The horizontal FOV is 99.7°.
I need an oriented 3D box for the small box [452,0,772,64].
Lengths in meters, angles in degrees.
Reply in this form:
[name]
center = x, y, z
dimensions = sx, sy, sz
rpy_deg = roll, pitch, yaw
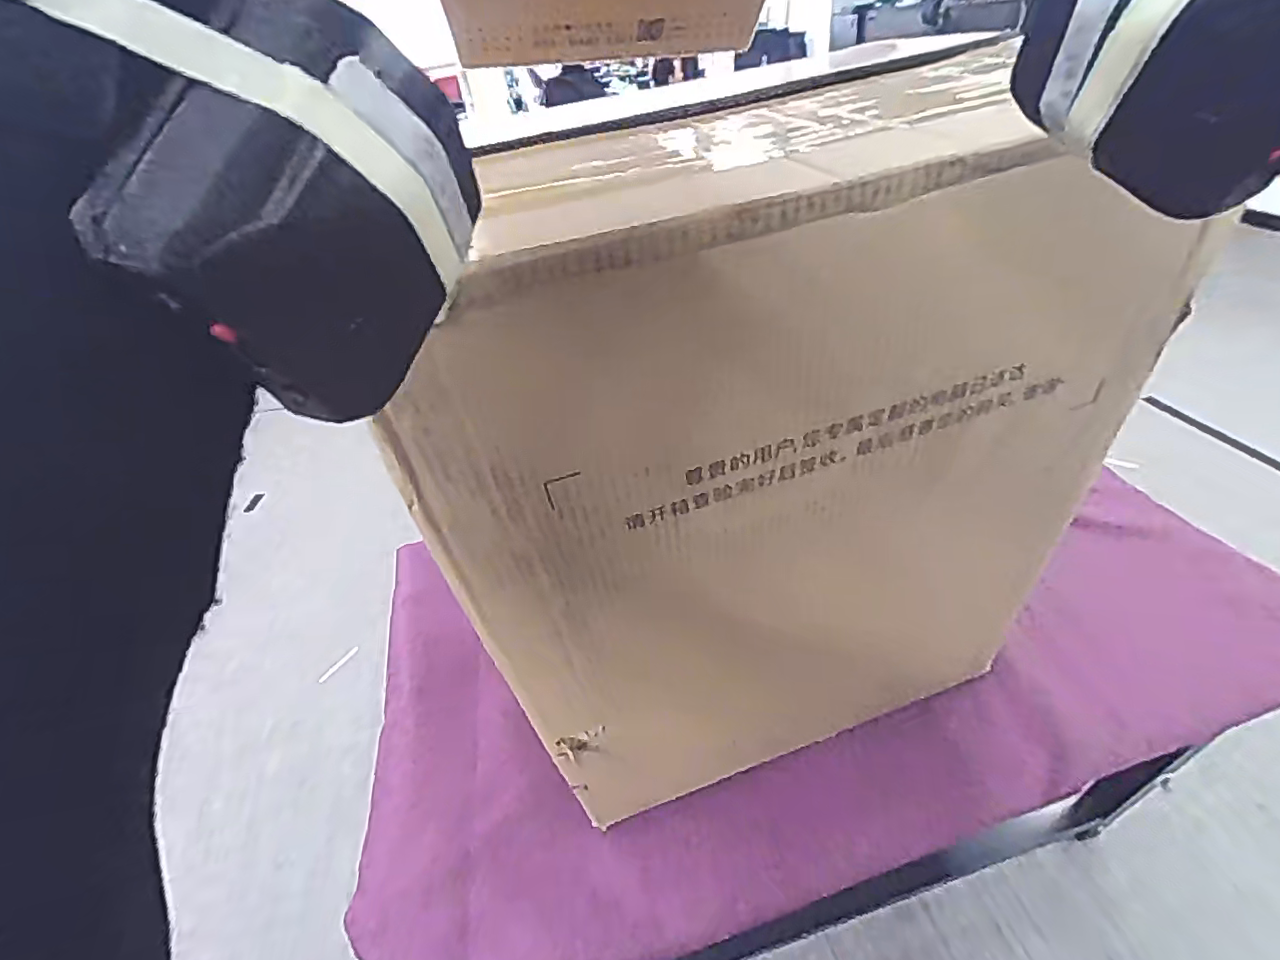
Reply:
[small box]
center = -0.015, -0.311, 0.222
dimensions = 0.168, 0.179, 0.176
rpy_deg = -8, 1, -6
